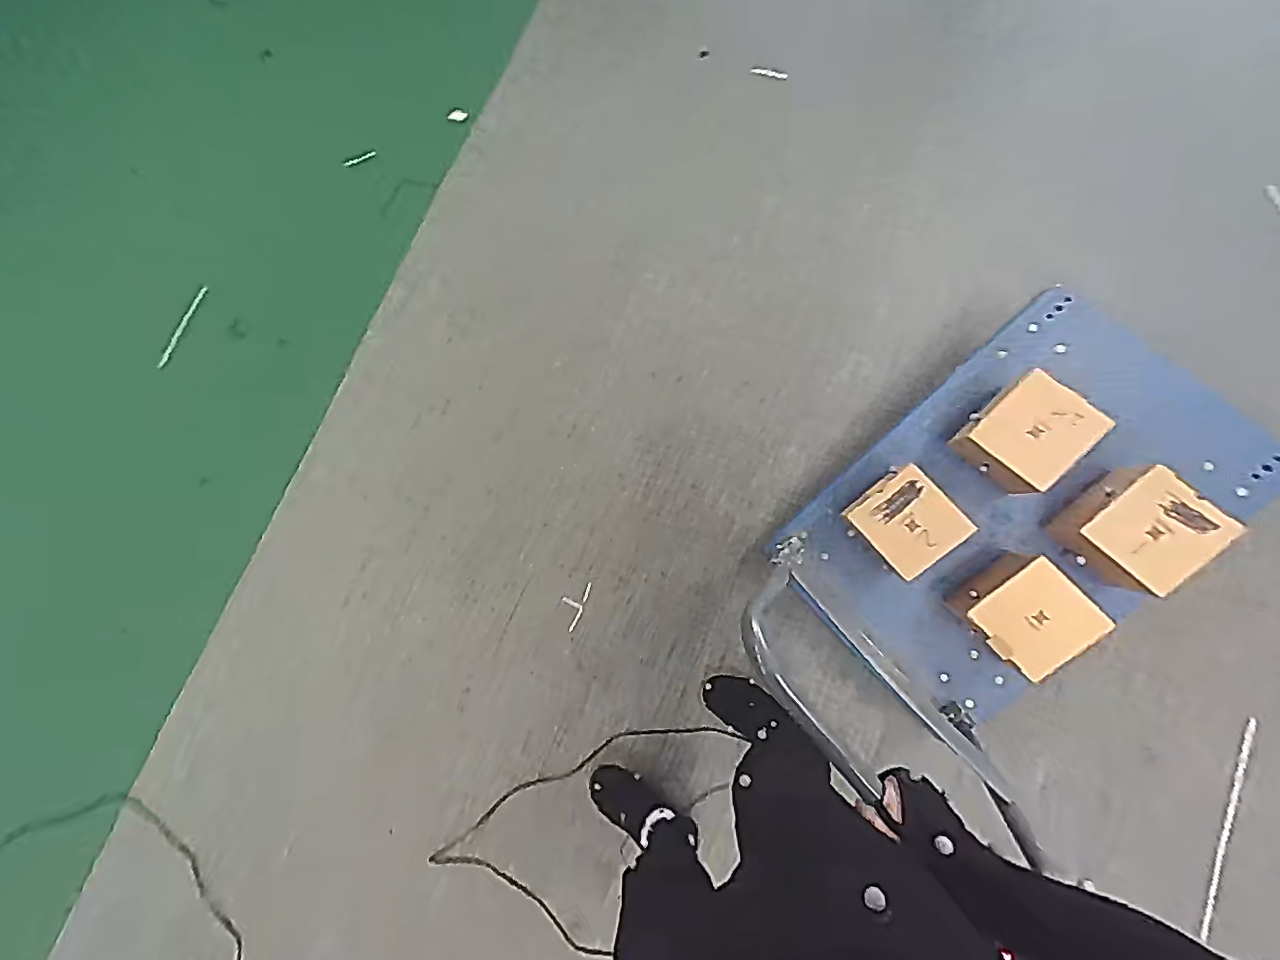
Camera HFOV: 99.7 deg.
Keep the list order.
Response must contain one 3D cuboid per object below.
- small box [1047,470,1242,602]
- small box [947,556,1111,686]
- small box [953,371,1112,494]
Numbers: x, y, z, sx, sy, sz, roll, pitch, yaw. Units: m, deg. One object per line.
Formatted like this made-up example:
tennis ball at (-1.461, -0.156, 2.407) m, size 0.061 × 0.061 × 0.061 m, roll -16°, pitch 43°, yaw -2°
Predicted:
small box at (0.928, 0.100, 1.019) m, size 0.179 × 0.176 × 0.168 m, roll -46°, pitch 75°, yaw 10°
small box at (0.747, 0.265, 1.065) m, size 0.179 × 0.176 × 0.168 m, roll -42°, pitch 76°, yaw 11°
small box at (0.762, -0.084, 1.080) m, size 0.168 × 0.176 × 0.179 m, roll 45°, pitch 99°, yaw 13°
